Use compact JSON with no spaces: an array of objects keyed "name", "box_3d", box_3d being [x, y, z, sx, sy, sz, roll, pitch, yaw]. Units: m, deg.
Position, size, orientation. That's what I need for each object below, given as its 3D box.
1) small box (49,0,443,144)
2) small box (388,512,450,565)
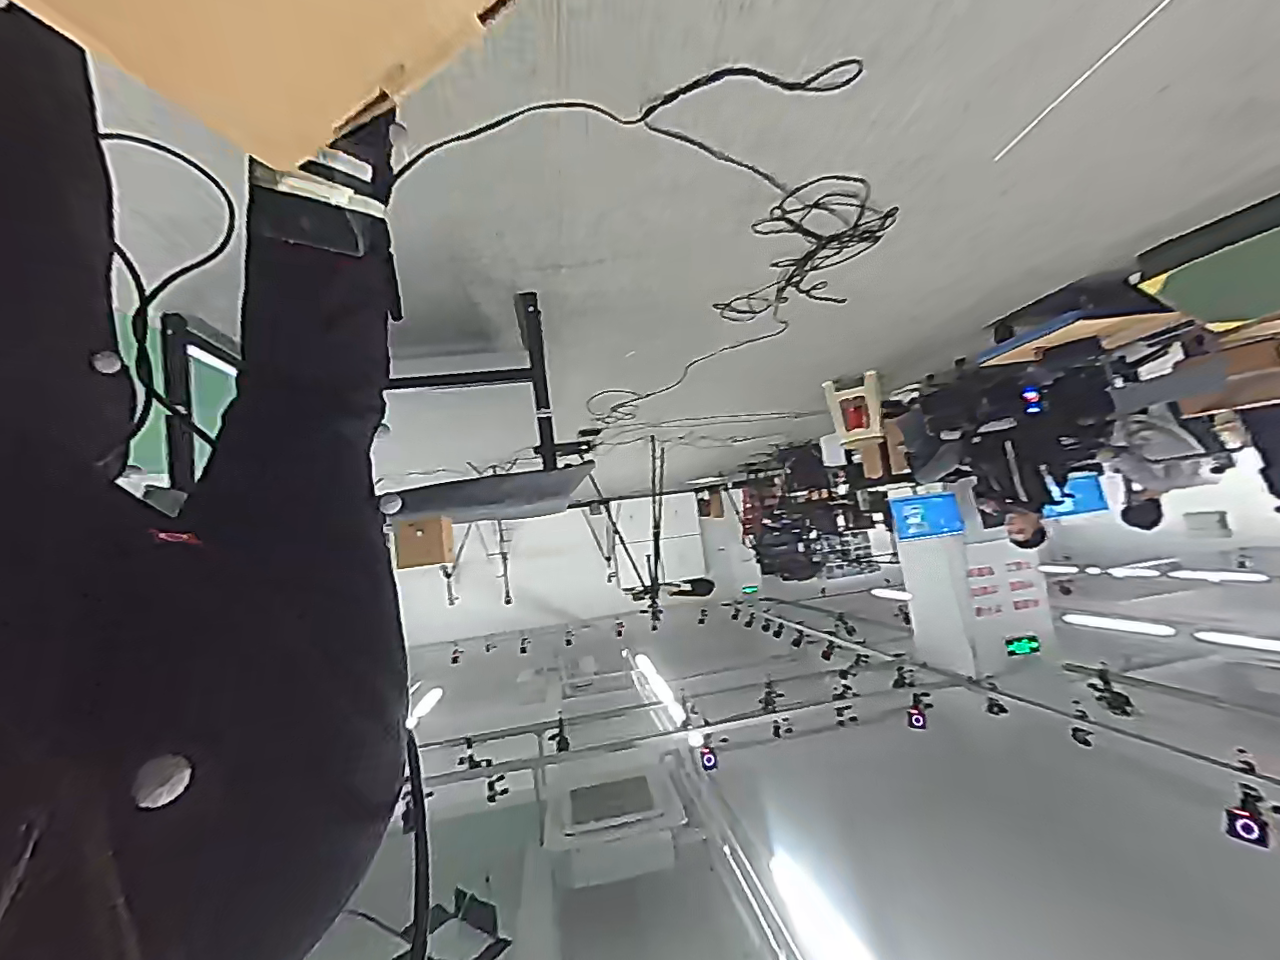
[{"name":"small box","box_3d":[-0.126,-0.245,0.131,0.168,0.176,0.179,-17,160,26]},{"name":"small box","box_3d":[-0.779,0.205,1.916,0.168,0.176,0.179,-7,174,-9]}]
